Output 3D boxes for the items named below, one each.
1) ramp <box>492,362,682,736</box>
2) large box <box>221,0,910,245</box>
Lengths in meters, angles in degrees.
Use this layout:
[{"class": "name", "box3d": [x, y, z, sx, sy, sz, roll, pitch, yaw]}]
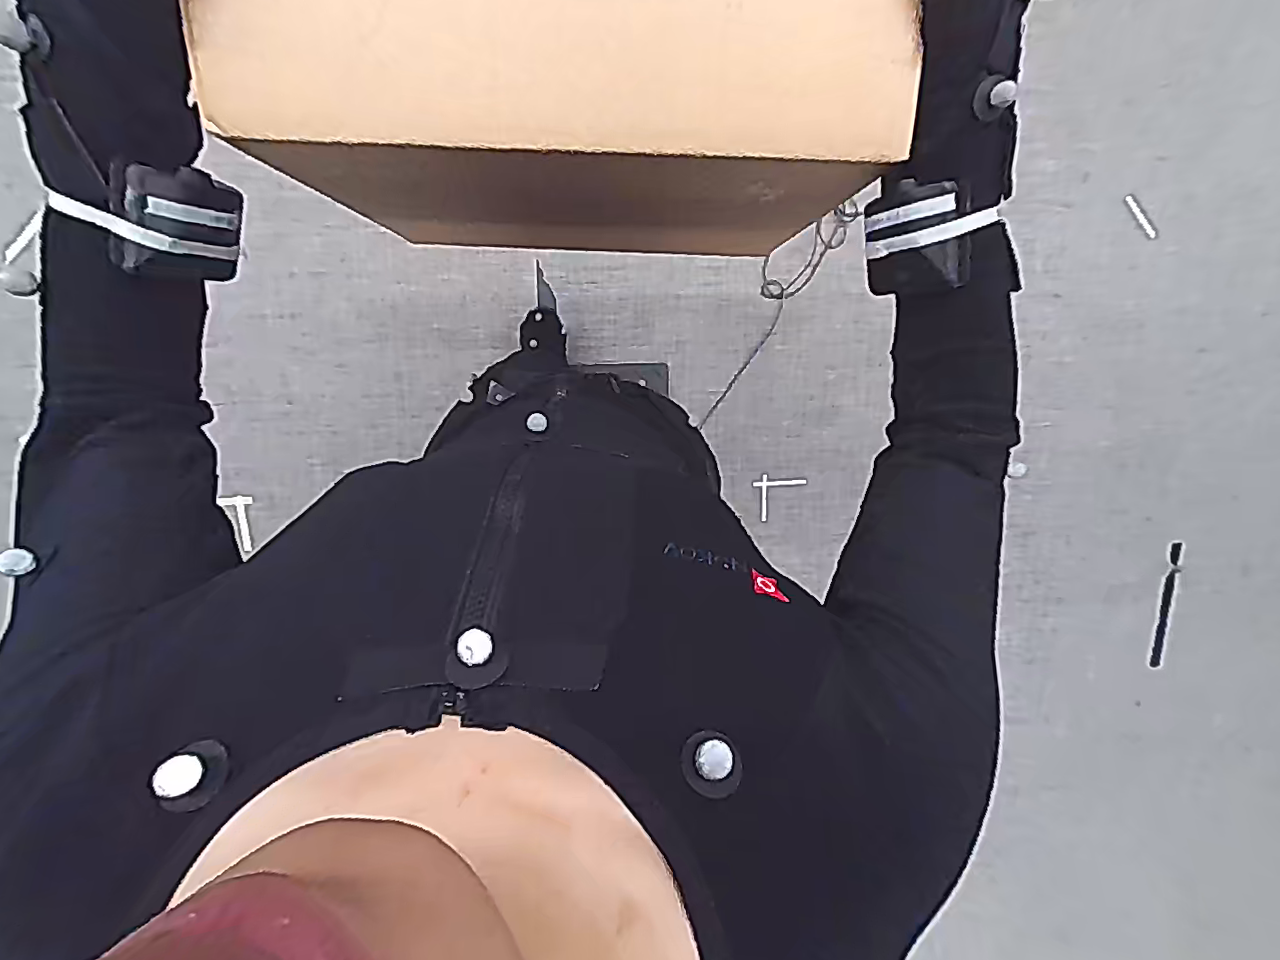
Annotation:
[{"class": "ramp", "box3d": [-0.146, 0.183, 1.468, 0.509, 0.206, 0.991, -3, 99, 0]}, {"class": "large box", "box3d": [-0.045, -0.387, 0.439, 0.408, 0.320, 0.320, 0, 103, -3]}]
